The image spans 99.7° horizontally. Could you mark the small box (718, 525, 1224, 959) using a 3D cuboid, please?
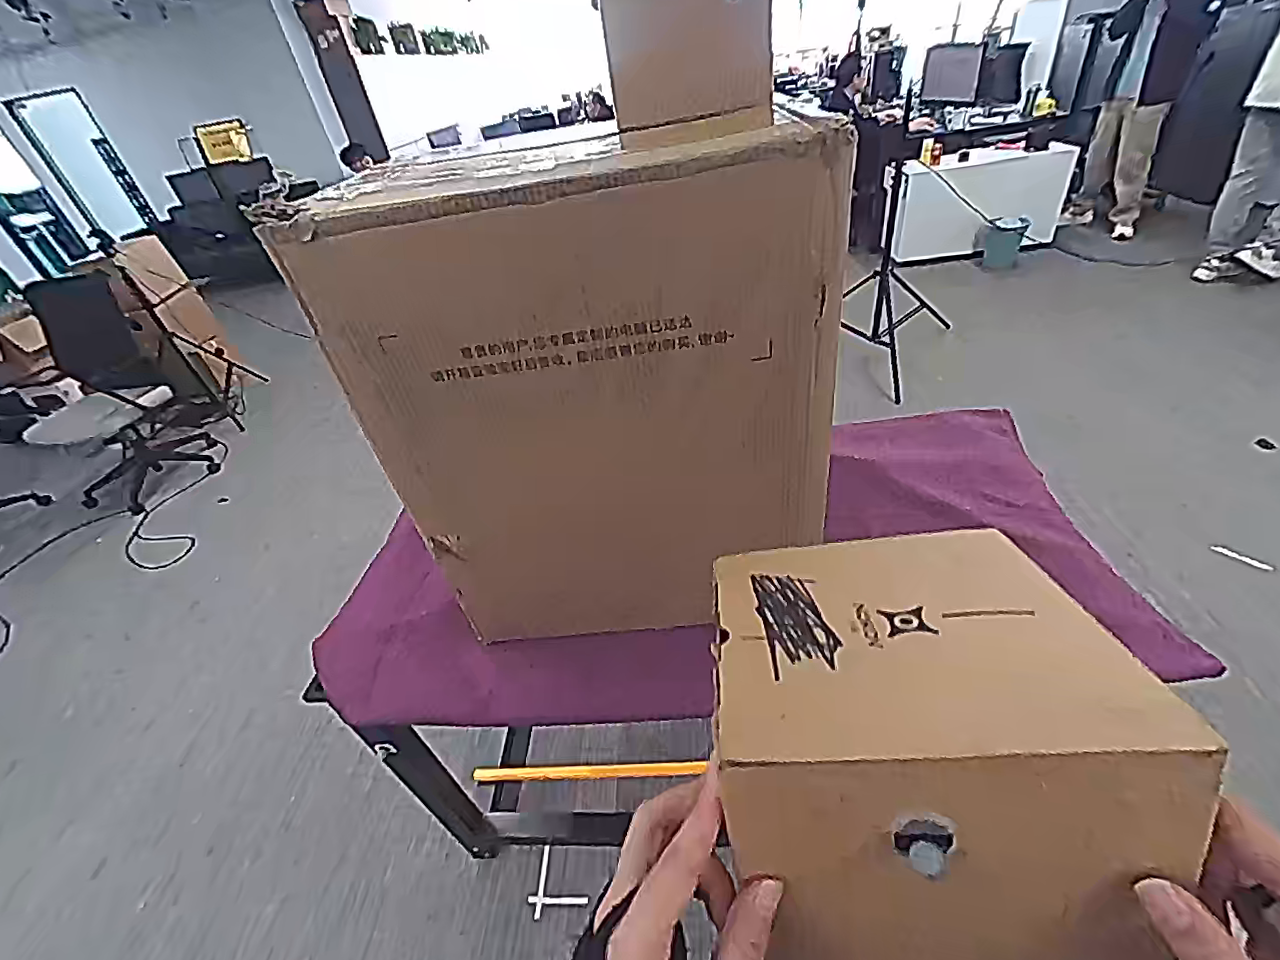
[{"bbox_3d":[0.142,0.143,0.297,0.179,0.176,0.168,-7,21,10],"label":"small box"}]
